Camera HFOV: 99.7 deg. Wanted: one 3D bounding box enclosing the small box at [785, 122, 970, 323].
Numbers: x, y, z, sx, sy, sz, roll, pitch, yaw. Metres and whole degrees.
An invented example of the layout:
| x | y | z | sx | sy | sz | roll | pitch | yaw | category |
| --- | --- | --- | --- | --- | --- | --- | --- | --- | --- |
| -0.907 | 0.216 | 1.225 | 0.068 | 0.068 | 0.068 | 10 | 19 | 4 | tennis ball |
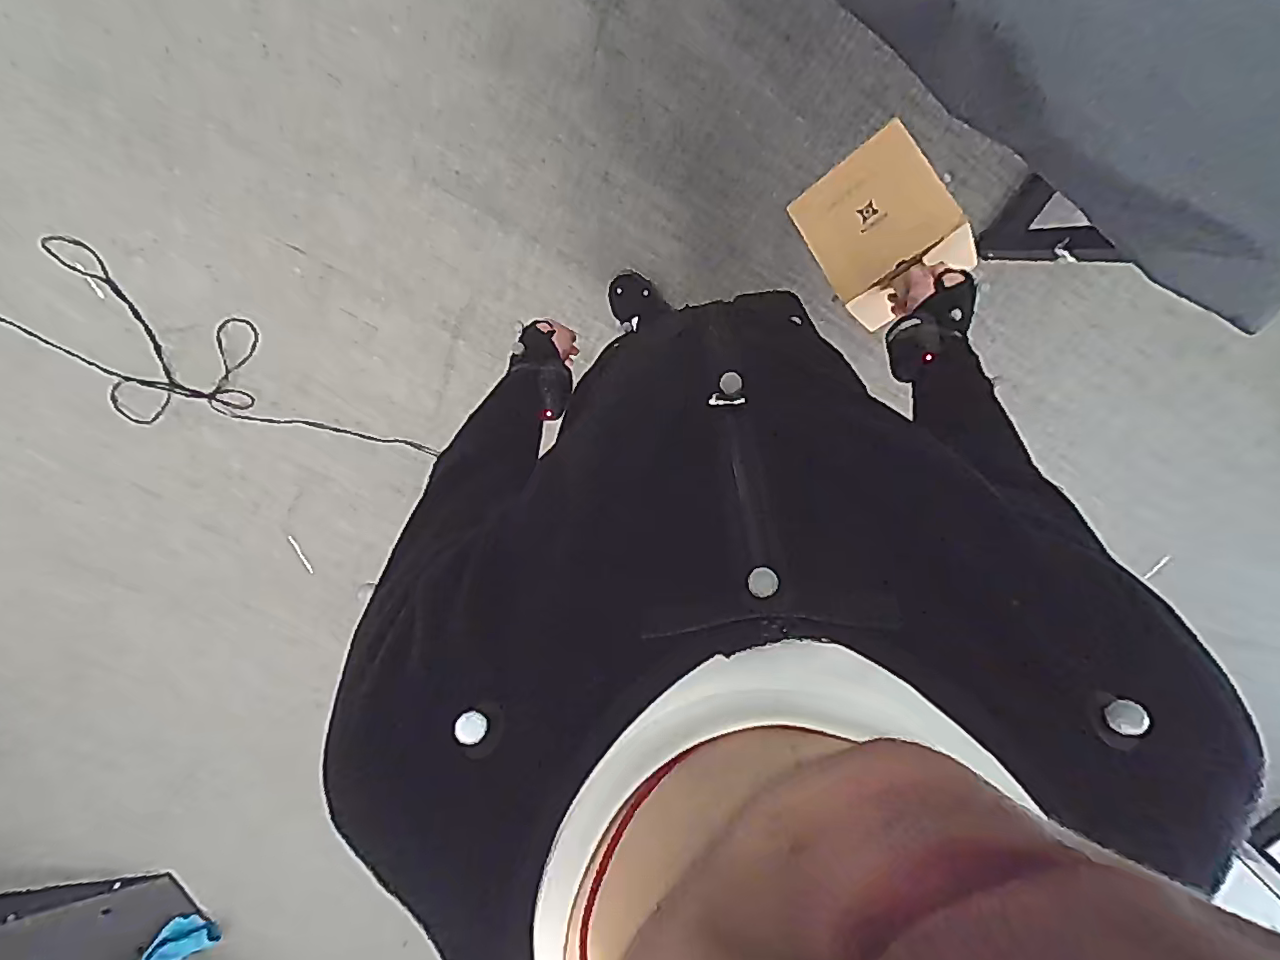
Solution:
| x | y | z | sx | sy | sz | roll | pitch | yaw | category |
| --- | --- | --- | --- | --- | --- | --- | --- | --- | --- |
| 0.341 | -0.344 | 0.767 | 0.168 | 0.176 | 0.179 | -32 | 72 | 31 | small box |
